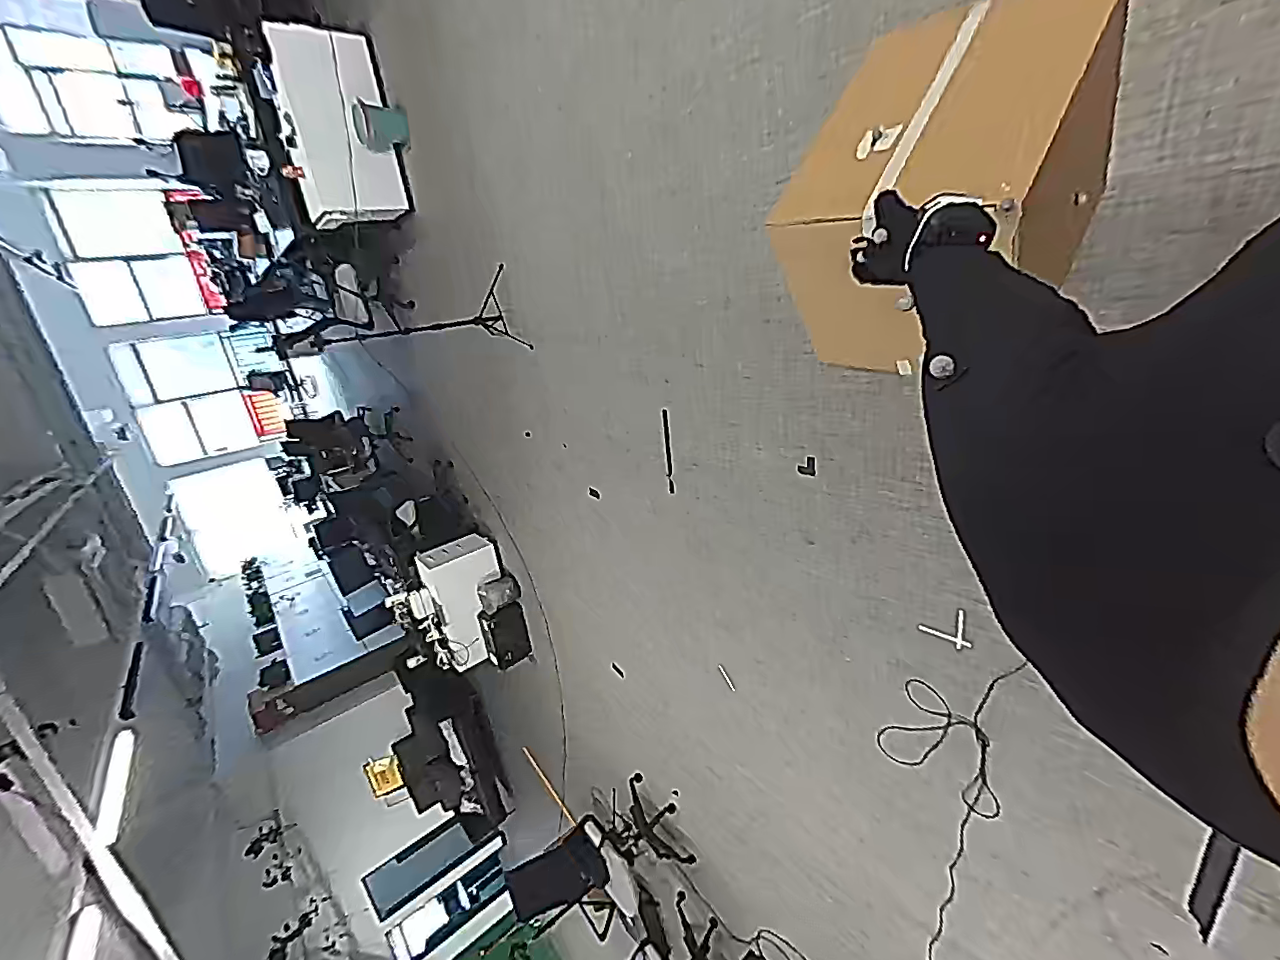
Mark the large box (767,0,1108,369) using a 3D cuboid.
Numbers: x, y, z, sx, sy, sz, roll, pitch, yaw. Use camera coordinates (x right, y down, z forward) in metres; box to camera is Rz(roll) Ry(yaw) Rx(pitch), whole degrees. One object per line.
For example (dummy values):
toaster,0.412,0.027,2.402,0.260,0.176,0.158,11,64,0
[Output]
large box,0.456,-0.436,0.827,0.320,0.408,0.320,19,166,42
